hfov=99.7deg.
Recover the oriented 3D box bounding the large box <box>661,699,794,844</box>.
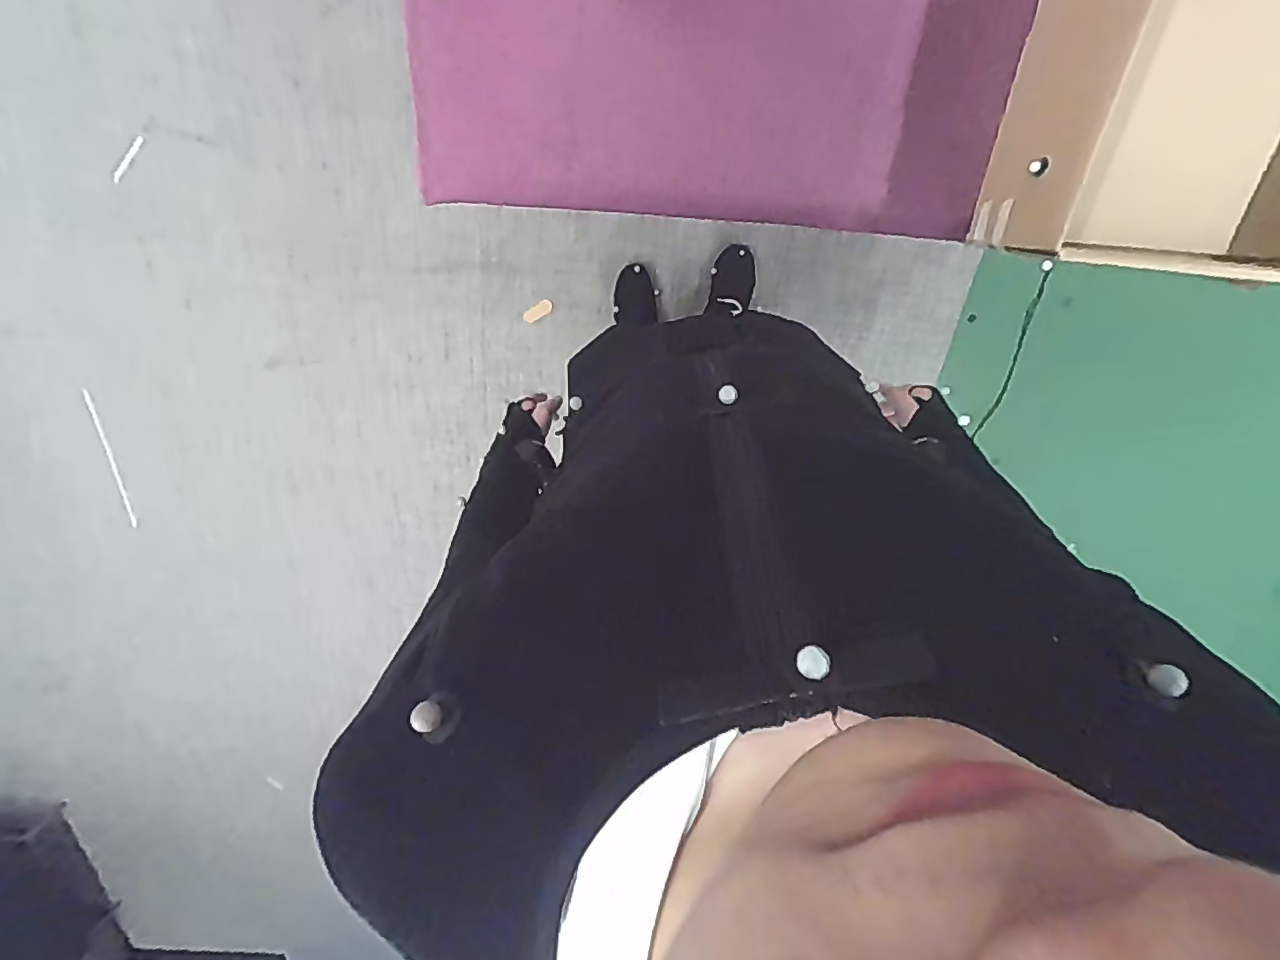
[{"bbox_3d":[0.332,1.140,2.128,0.408,0.320,0.320,-25,115,10],"label":"large box"}]
